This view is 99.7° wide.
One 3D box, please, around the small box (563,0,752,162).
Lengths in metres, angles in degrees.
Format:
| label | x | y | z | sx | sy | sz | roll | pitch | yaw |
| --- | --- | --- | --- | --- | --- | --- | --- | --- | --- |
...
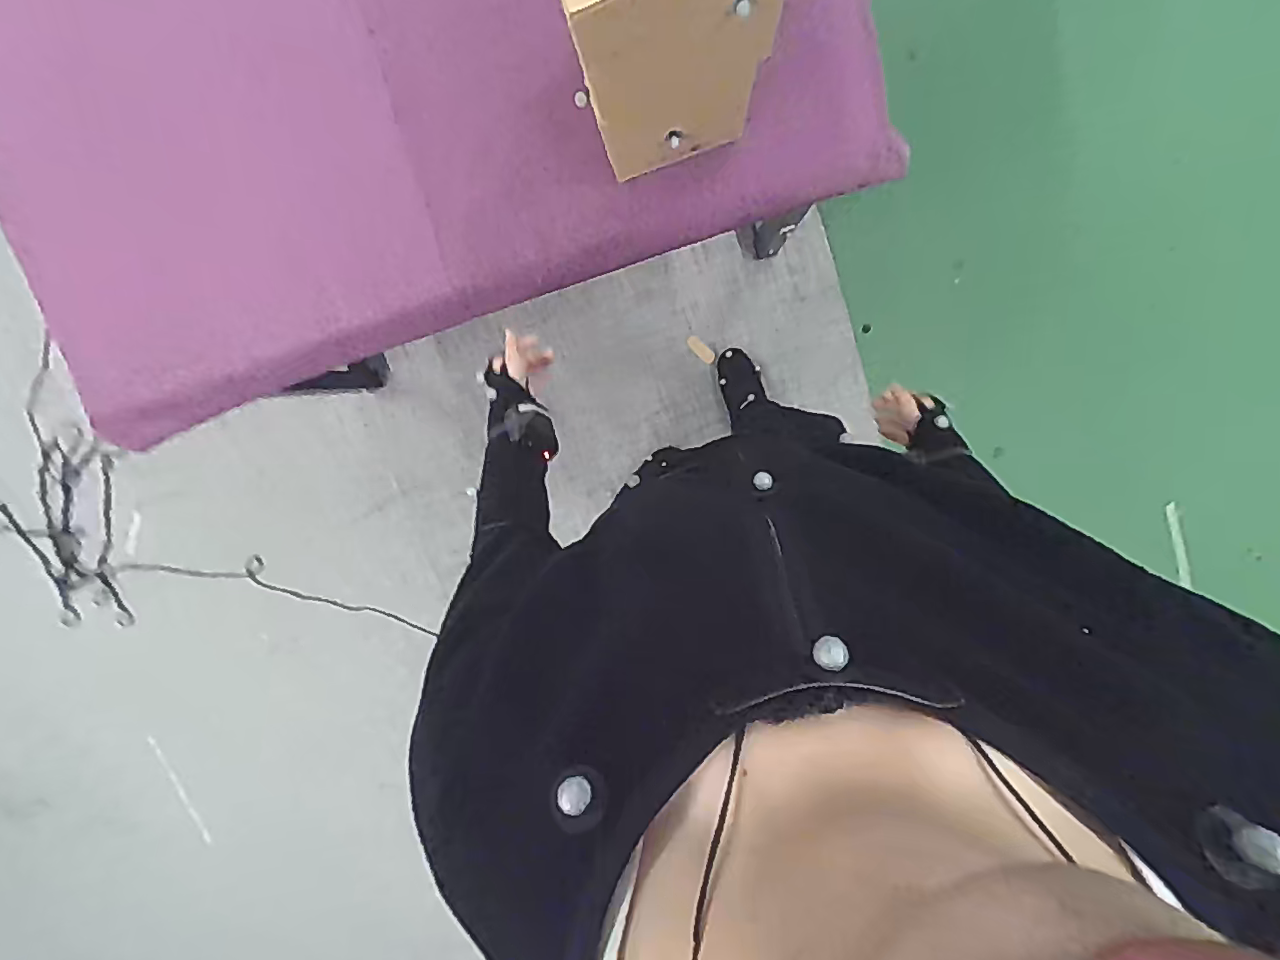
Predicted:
| label | x | y | z | sx | sy | sz | roll | pitch | yaw |
| --- | --- | --- | --- | --- | --- | --- | --- | --- | --- |
| small box | 0.016 | -0.483 | 0.595 | 0.168 | 0.176 | 0.179 | -16 | 98 | 7 |
